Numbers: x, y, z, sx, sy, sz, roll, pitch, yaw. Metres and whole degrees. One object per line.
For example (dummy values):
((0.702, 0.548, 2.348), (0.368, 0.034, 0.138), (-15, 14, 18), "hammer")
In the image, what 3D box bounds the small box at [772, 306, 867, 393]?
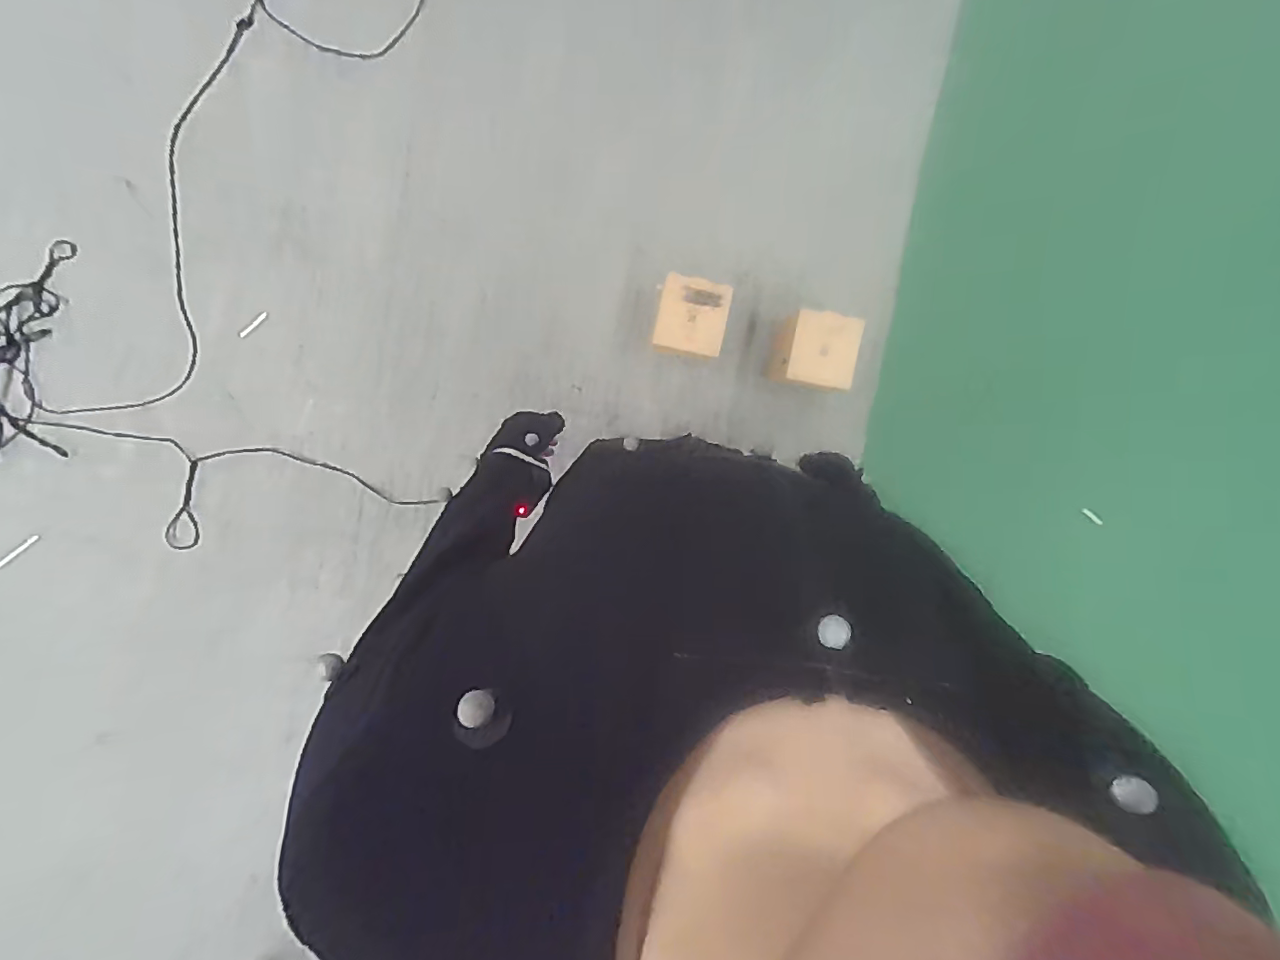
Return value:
((0.448, -0.324, 1.378), (0.168, 0.176, 0.179), (10, 95, -4), "small box")
